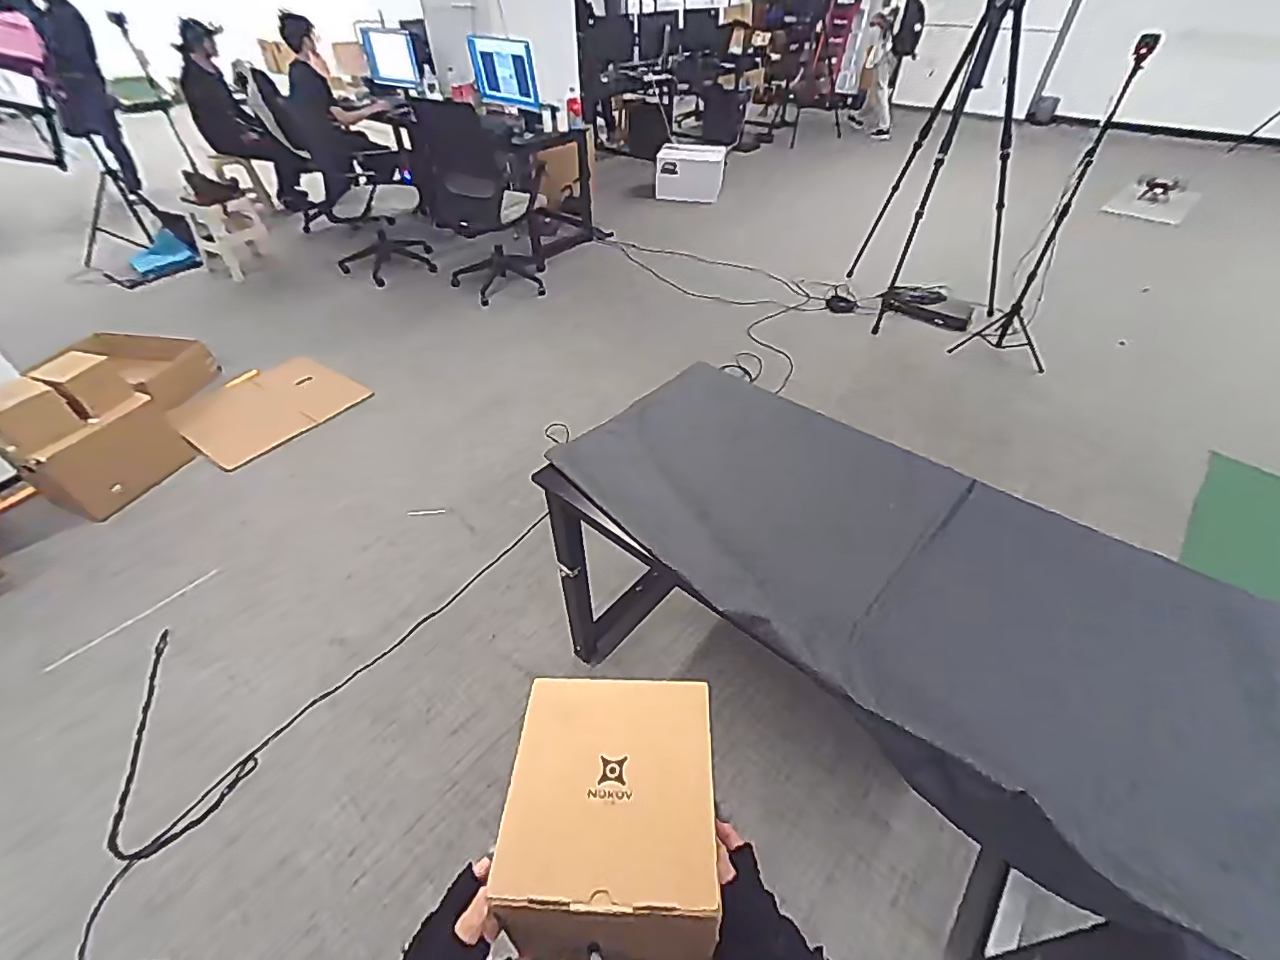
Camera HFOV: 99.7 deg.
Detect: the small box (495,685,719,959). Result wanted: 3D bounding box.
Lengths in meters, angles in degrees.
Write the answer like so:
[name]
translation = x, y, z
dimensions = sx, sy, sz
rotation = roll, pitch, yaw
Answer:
[small box]
translation = -0.019, 0.315, 0.499
dimensions = 0.168, 0.176, 0.179
rotation = 0, 39, 3
